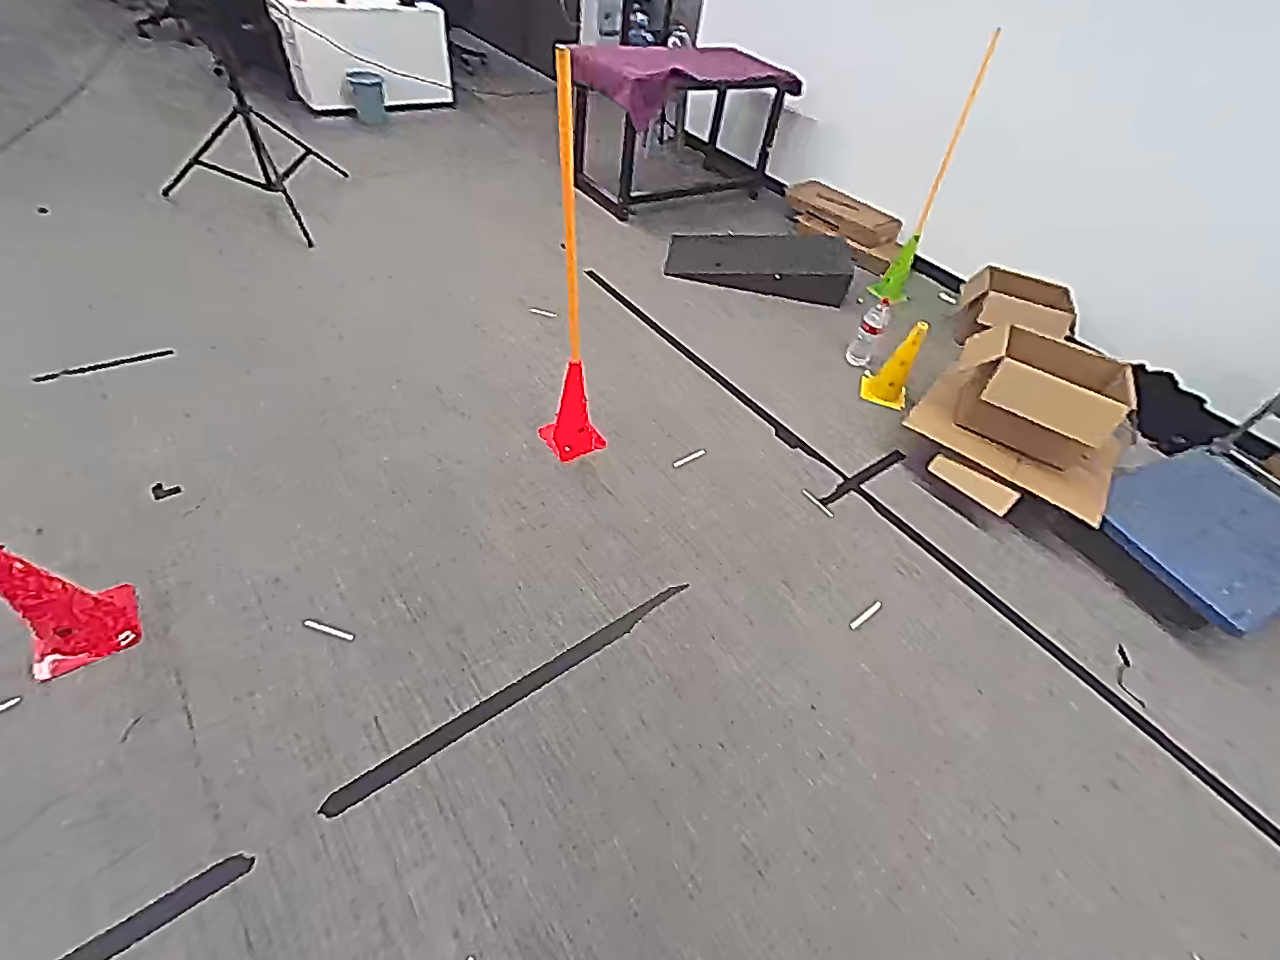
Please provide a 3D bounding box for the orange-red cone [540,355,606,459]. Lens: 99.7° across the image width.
[{"bbox_3d":[-0.228,-0.279,1.878,0.199,0.360,0.198,-22,56,-27],"label":"orange-red cone"}]
